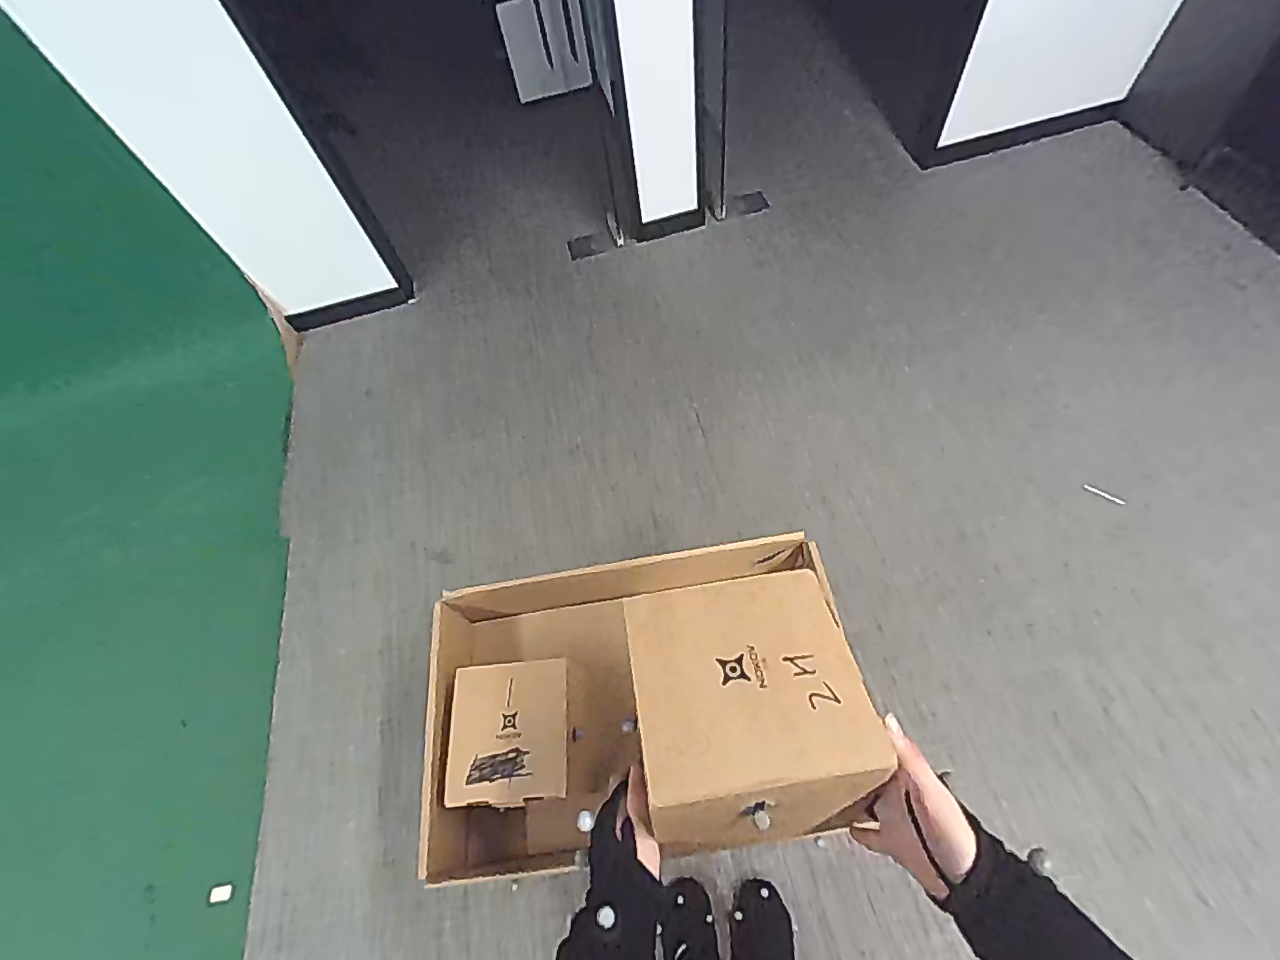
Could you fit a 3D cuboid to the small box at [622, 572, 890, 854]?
[{"bbox_3d":[0.084,0.207,0.478,0.179,0.176,0.168,-7,44,-3],"label":"small box"}]
